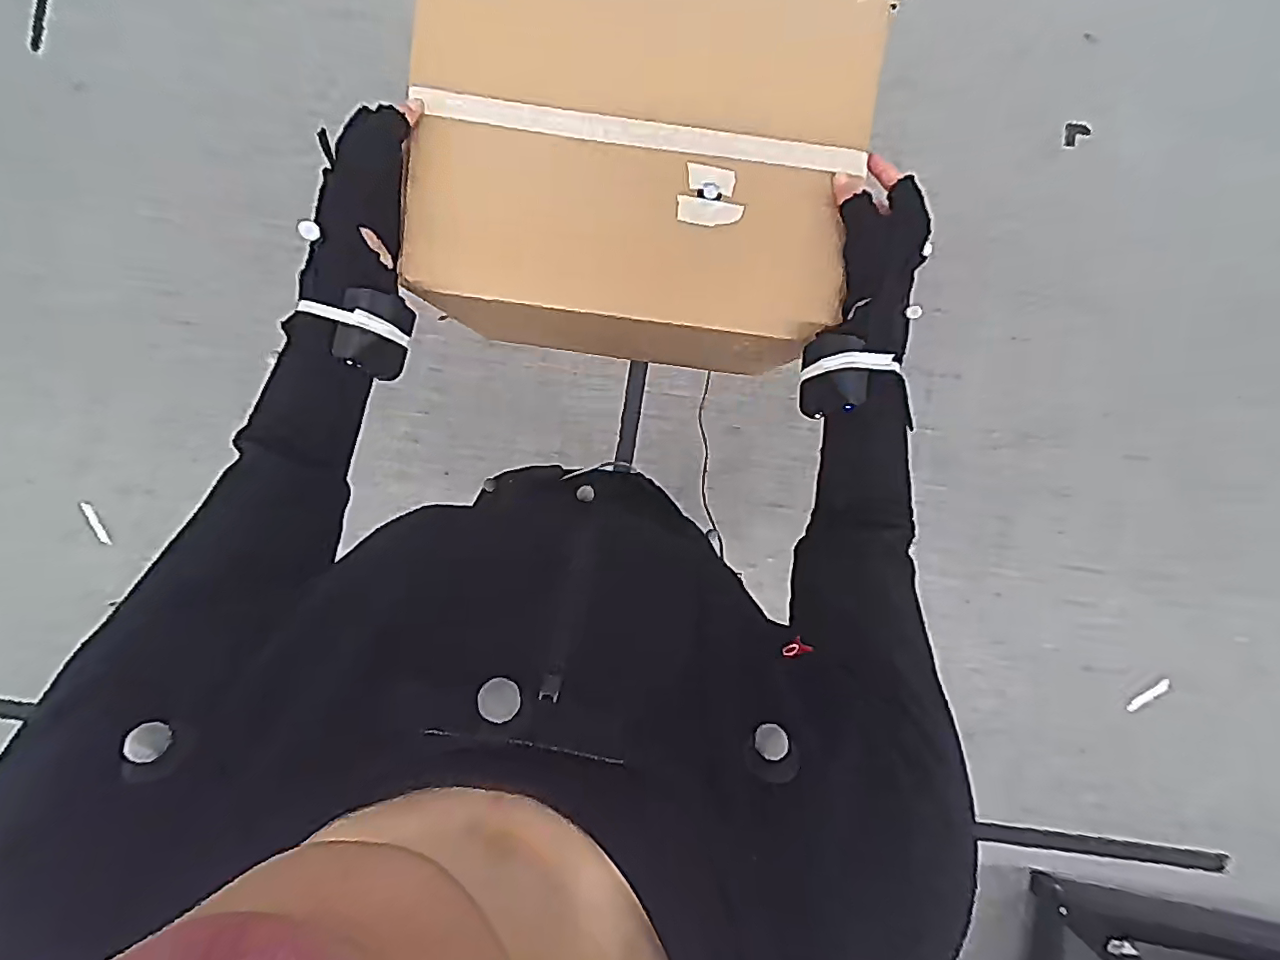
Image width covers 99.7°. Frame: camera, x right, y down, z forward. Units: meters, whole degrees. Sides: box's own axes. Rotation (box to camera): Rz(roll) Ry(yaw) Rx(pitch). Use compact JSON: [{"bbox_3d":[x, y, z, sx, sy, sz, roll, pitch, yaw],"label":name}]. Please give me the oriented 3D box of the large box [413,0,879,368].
[{"bbox_3d":[-0.004,-0.323,0.639,0.408,0.320,0.320,7,97,-3],"label":"large box"}]
